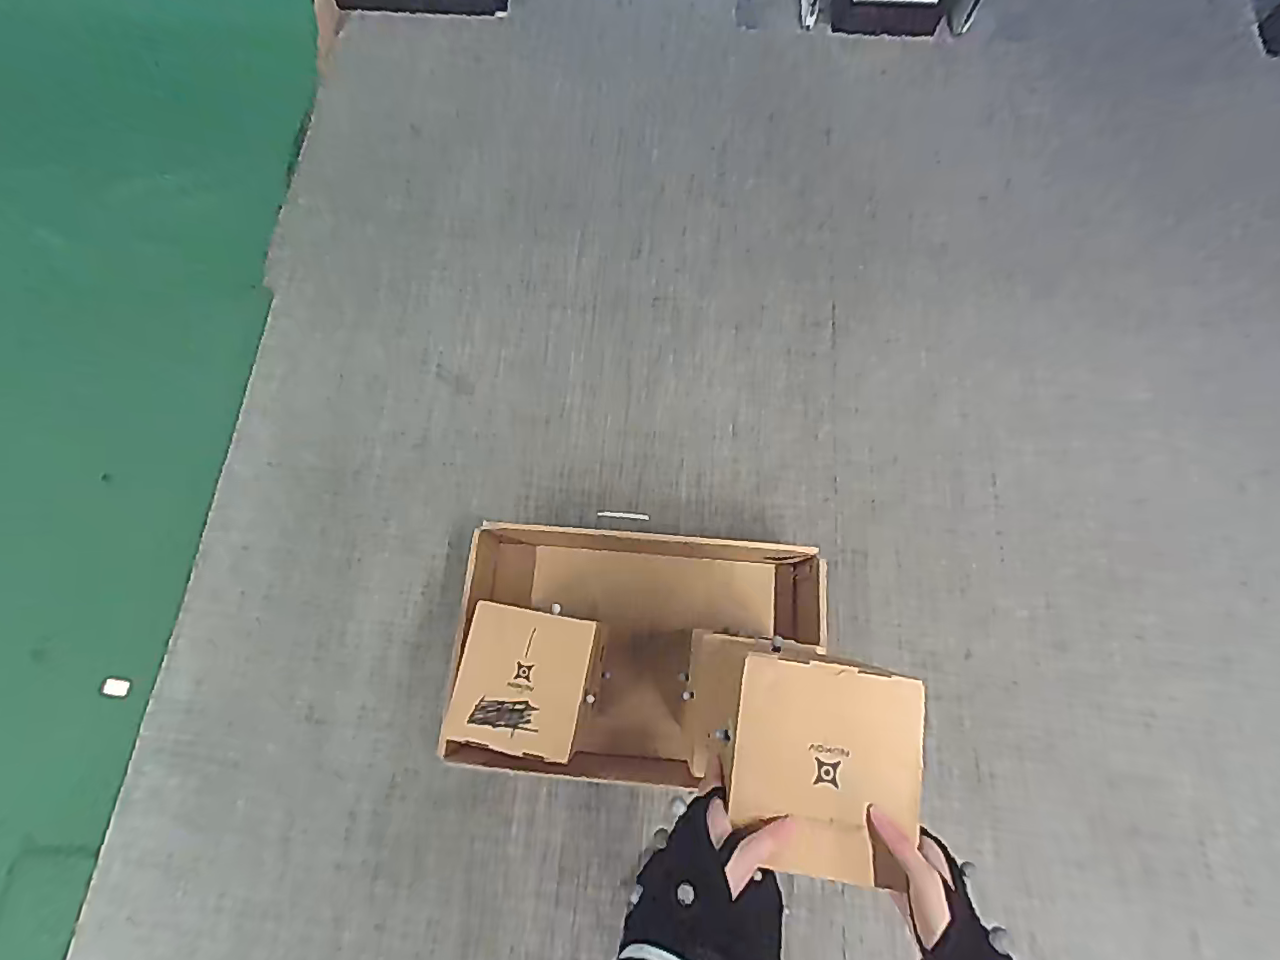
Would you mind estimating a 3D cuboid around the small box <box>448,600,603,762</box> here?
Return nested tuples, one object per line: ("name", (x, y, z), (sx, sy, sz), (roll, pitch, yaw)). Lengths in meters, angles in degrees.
("small box", (-0.150, 0.280, 0.781), (0.168, 0.176, 0.179), (10, 74, 3))

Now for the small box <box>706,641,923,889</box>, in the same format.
("small box", (0.166, 0.269, 0.558), (0.168, 0.176, 0.179), (9, 78, 3))
